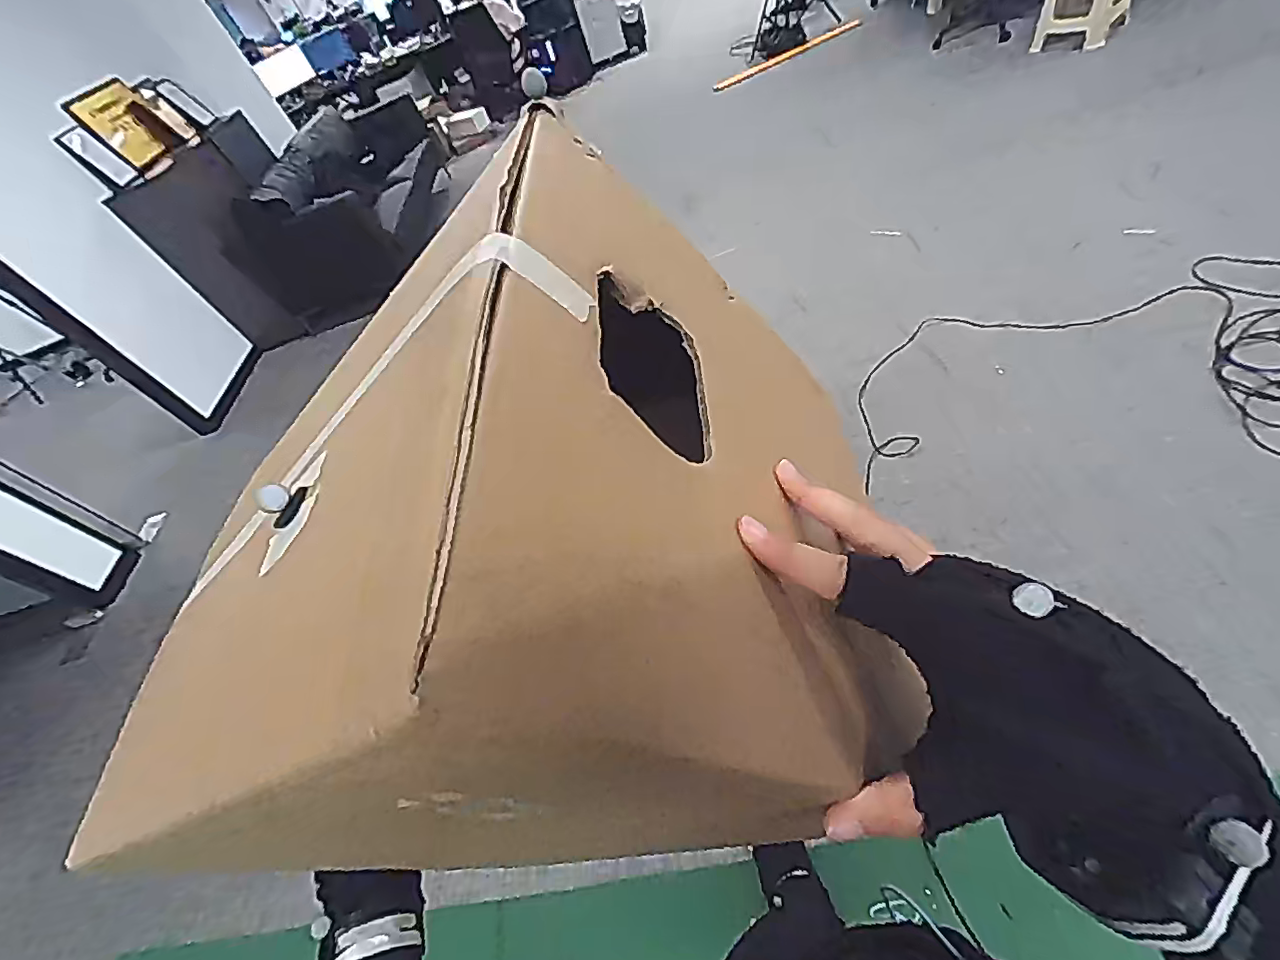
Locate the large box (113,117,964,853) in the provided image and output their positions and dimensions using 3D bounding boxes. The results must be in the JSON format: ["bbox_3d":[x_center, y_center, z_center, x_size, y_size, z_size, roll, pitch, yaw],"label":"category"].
[{"bbox_3d":[-0.072,0.067,0.398,0.408,0.320,0.320,-31,44,32],"label":"large box"}]
